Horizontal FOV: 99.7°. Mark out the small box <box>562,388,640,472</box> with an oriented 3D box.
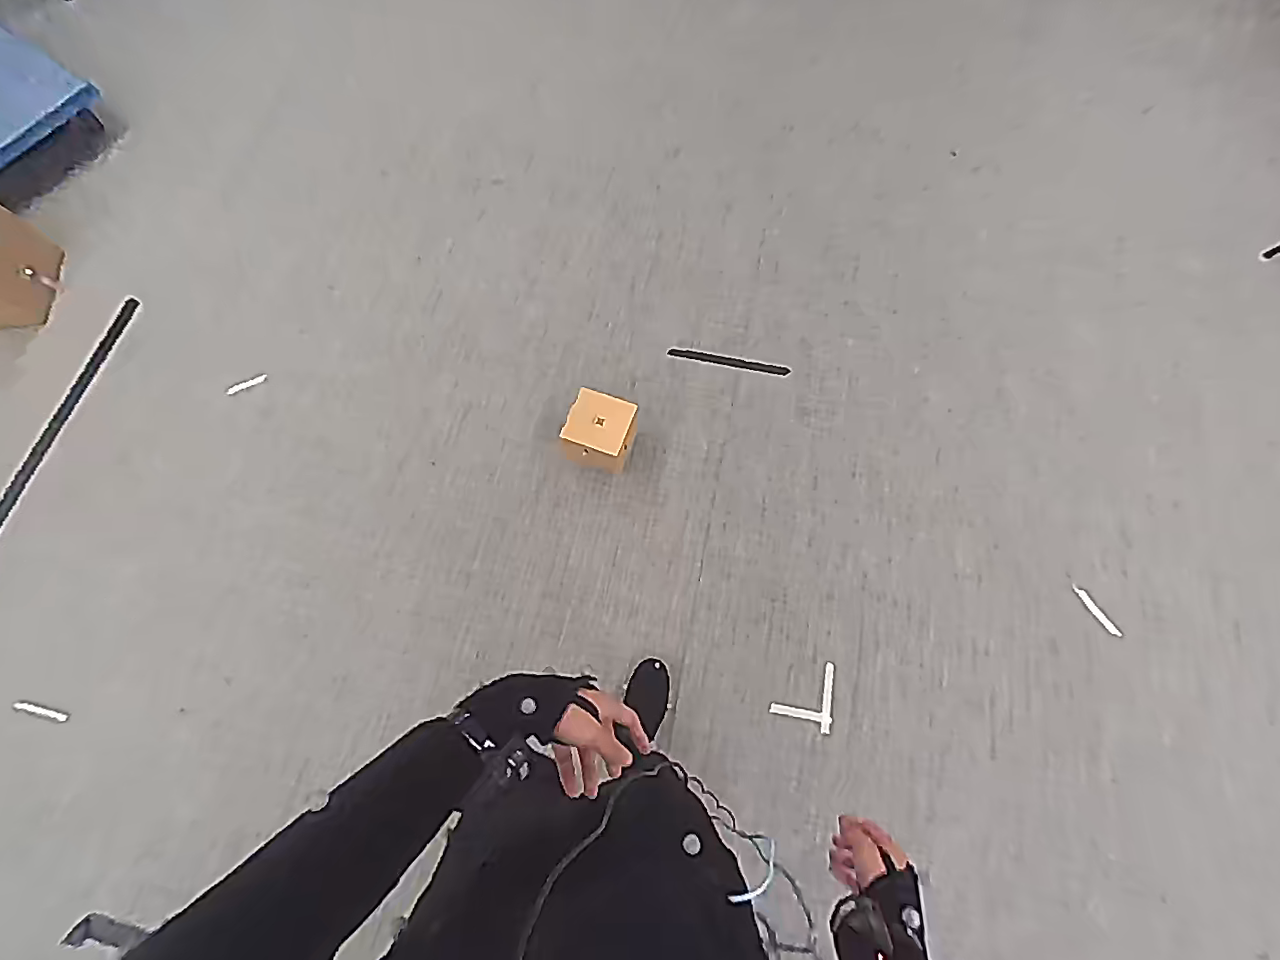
[{"bbox_3d":[-0.107,-0.139,1.579,0.179,0.176,0.168,19,74,8],"label":"small box"}]
